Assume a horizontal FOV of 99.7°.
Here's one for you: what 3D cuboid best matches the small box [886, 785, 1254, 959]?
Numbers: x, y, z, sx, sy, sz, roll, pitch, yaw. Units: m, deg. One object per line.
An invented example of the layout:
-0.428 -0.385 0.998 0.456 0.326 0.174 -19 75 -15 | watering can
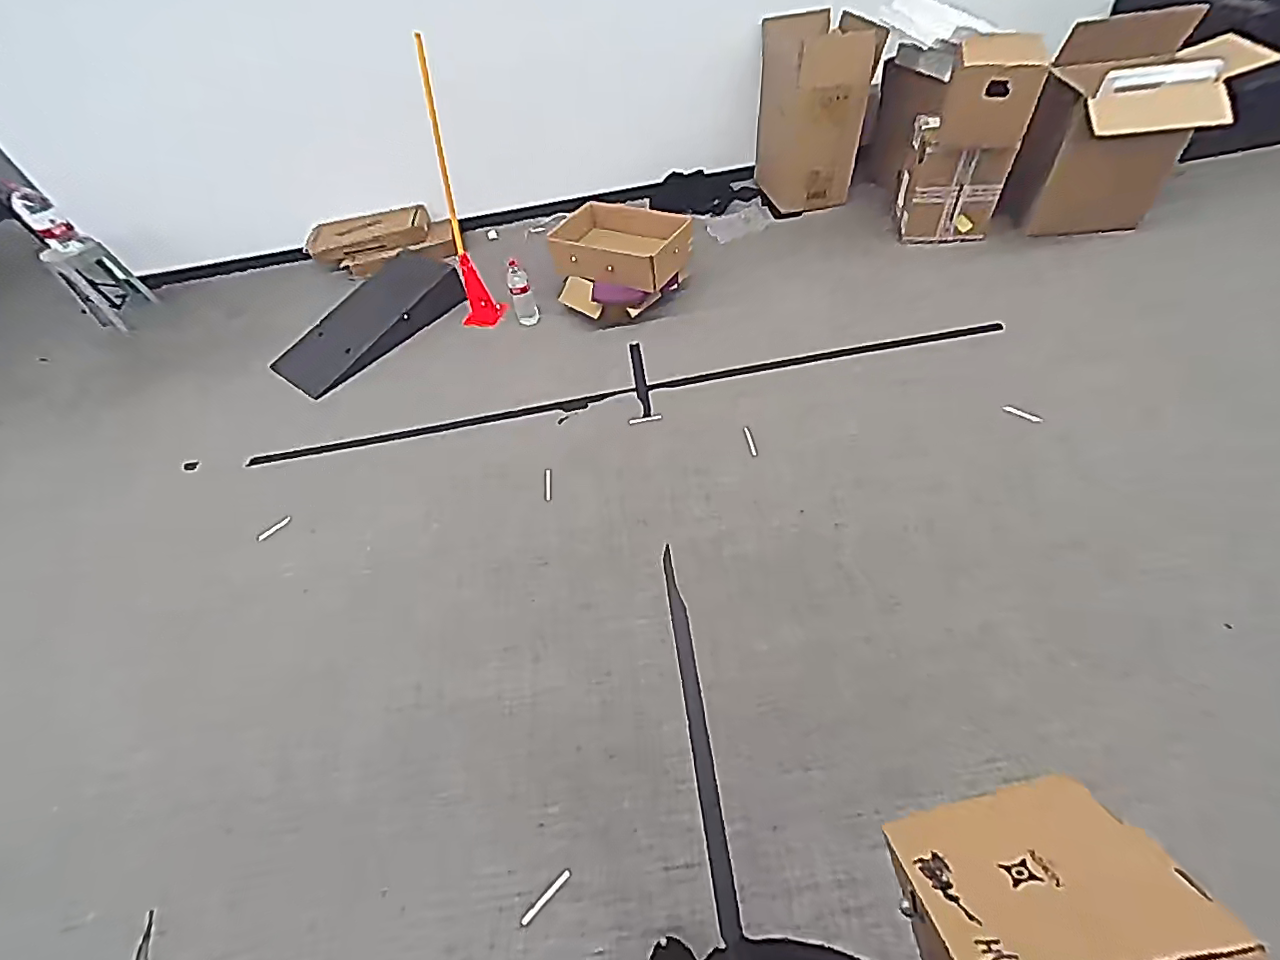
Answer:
0.331 0.389 0.430 0.179 0.168 0.176 -17 92 4 | small box
